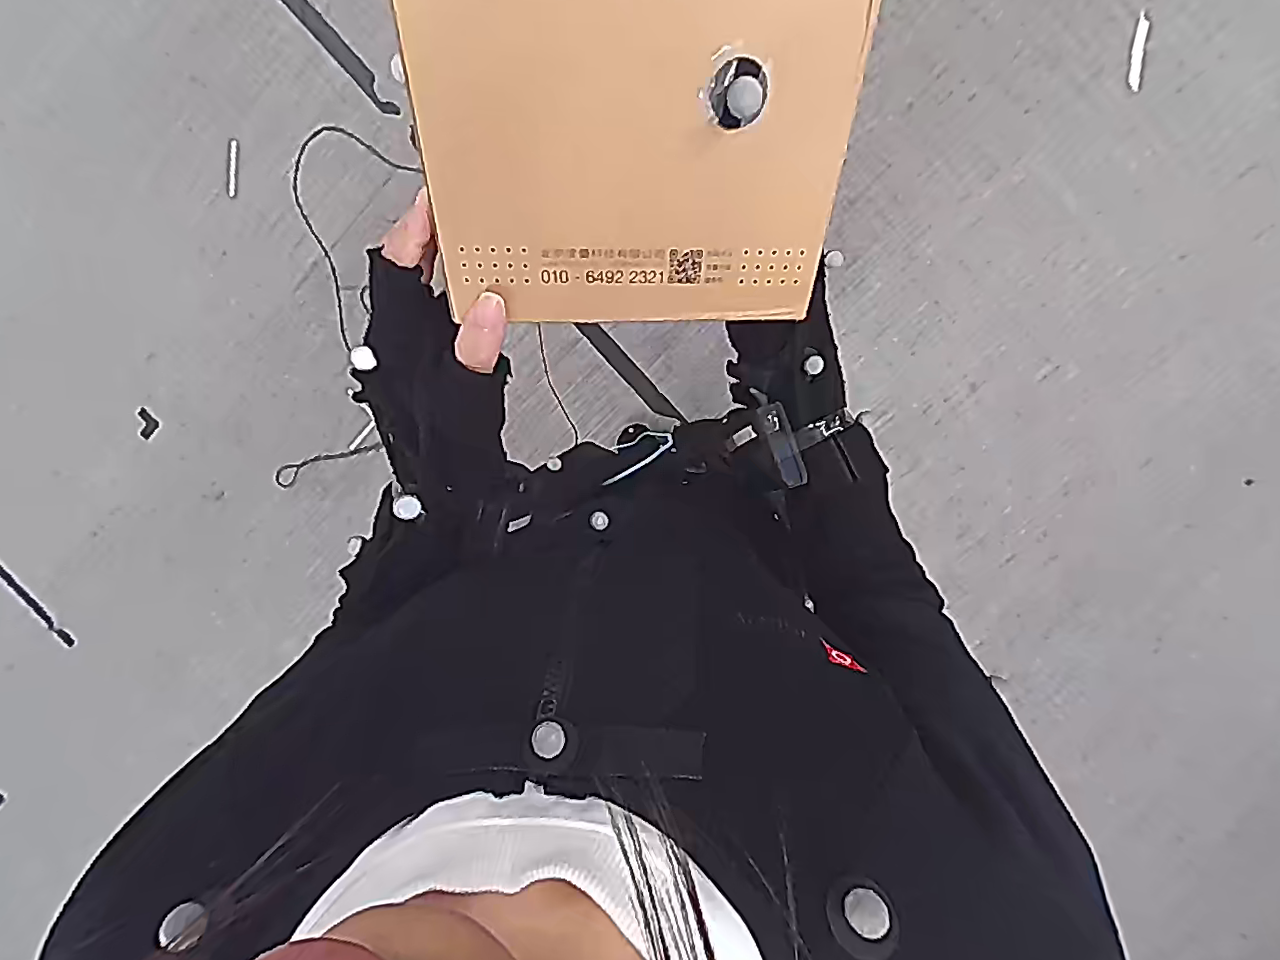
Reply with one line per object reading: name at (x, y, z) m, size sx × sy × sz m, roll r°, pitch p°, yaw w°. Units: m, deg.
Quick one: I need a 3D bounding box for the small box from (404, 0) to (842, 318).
small box at (-0.008, -0.195, 0.281) m, size 0.168 × 0.179 × 0.176 m, roll -1°, pitch 130°, yaw -4°
